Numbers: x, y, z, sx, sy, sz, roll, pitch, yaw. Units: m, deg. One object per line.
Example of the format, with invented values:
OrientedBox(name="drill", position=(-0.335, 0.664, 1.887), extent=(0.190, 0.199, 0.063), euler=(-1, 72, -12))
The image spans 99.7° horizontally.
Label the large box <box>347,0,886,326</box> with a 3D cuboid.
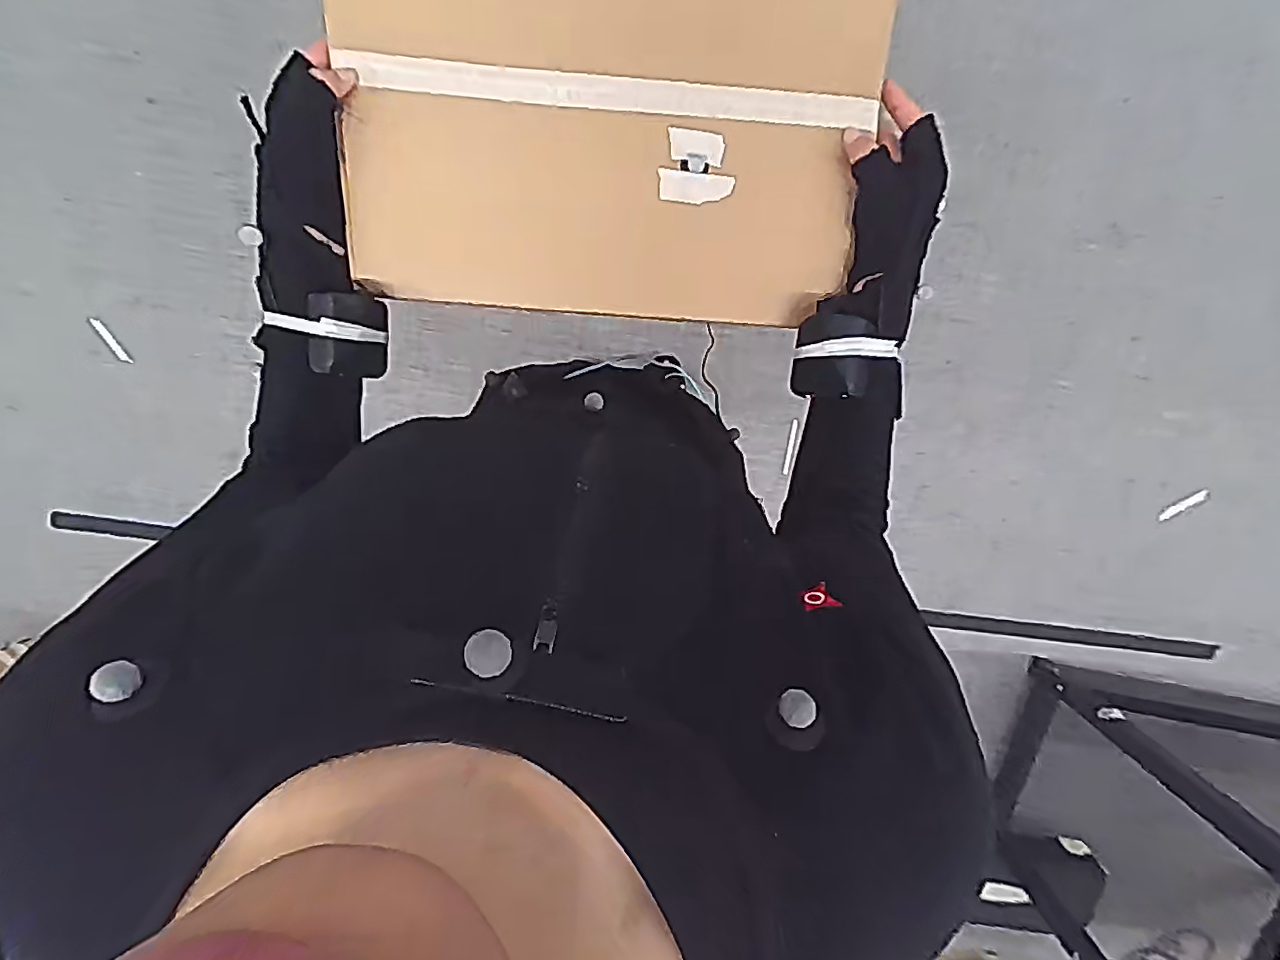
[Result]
OrientedBox(name="large box", position=(-0.027, -0.334, 0.559), extent=(0.408, 0.320, 0.320), euler=(3, 109, -4))
